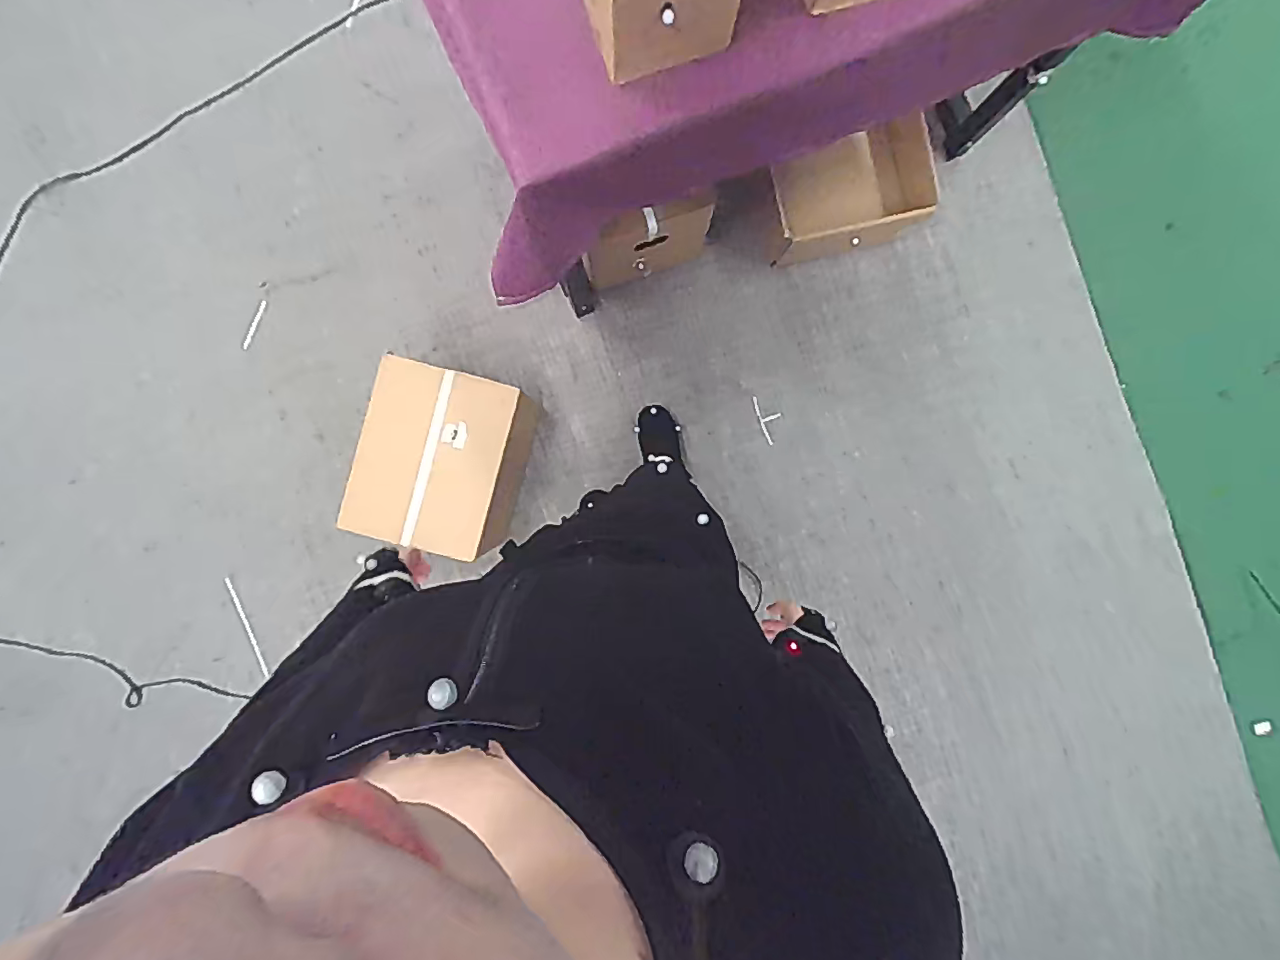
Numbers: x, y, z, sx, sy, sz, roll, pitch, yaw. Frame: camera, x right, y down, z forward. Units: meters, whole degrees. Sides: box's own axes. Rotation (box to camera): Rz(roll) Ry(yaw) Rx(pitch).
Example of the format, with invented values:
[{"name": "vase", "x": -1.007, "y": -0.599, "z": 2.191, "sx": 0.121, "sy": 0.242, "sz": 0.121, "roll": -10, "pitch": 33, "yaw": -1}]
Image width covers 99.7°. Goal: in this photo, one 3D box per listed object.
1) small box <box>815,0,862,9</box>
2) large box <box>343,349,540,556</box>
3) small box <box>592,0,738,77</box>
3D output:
[{"name": "small box", "x": 0.302, "y": -0.761, "z": 0.681, "sx": 0.168, "sy": 0.176, "sz": 0.179, "roll": -15, "pitch": 92, "yaw": -1}, {"name": "large box", "x": -0.464, "y": -0.058, "z": 1.339, "sx": 0.320, "sy": 0.320, "sz": 0.408, "roll": 15, "pitch": 90, "yaw": -3}, {"name": "small box", "x": 0.023, "y": -0.656, "z": 0.675, "sx": 0.179, "sy": 0.176, "sz": 0.168, "roll": -19, "pitch": 92, "yaw": 0}]
